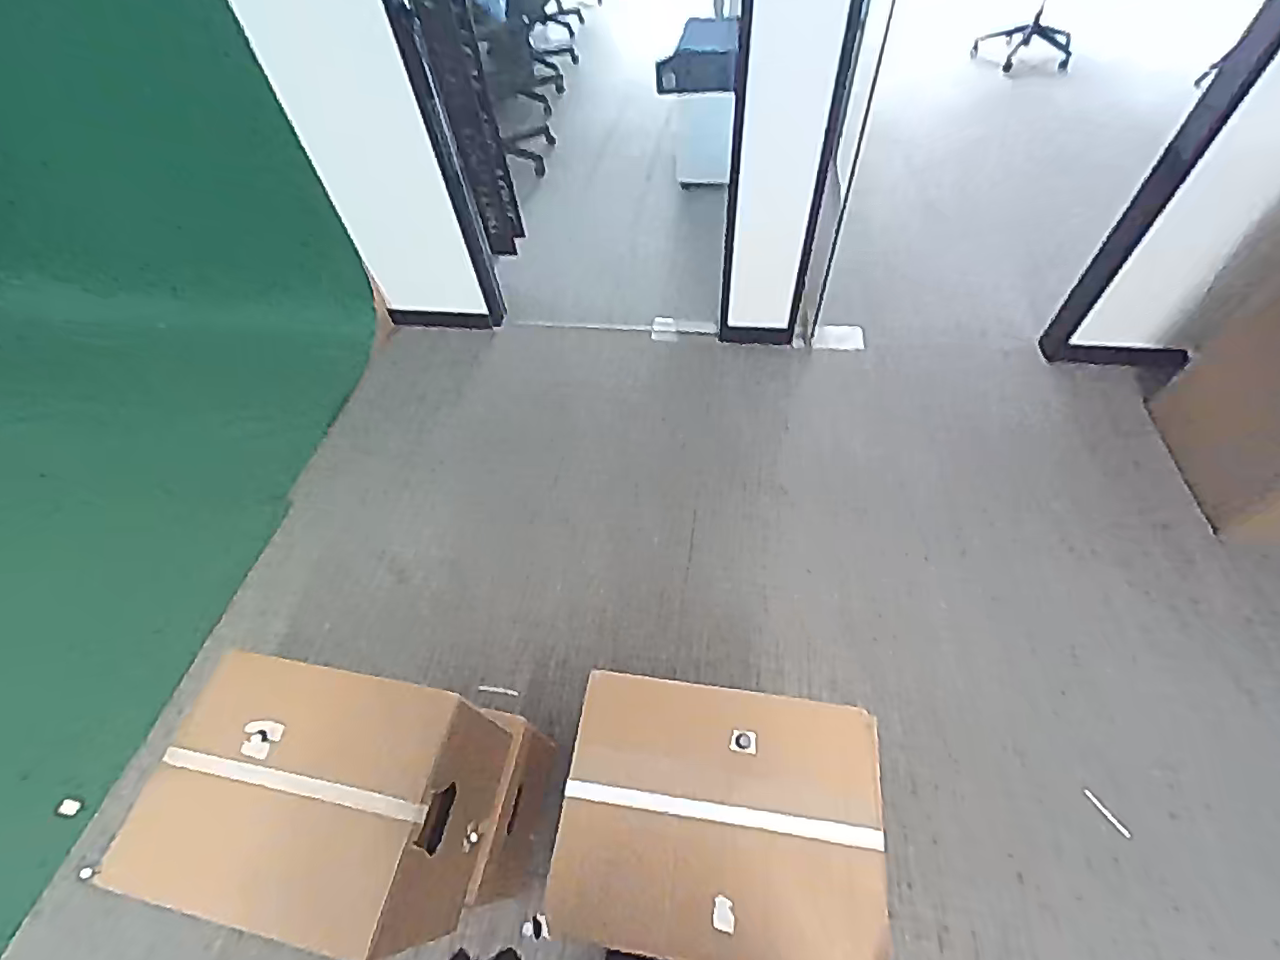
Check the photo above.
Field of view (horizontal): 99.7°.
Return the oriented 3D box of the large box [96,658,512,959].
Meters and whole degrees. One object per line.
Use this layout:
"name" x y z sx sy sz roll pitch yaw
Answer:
"large box" -0.473 0.511 0.870 0.408 0.320 0.320 7 56 10
